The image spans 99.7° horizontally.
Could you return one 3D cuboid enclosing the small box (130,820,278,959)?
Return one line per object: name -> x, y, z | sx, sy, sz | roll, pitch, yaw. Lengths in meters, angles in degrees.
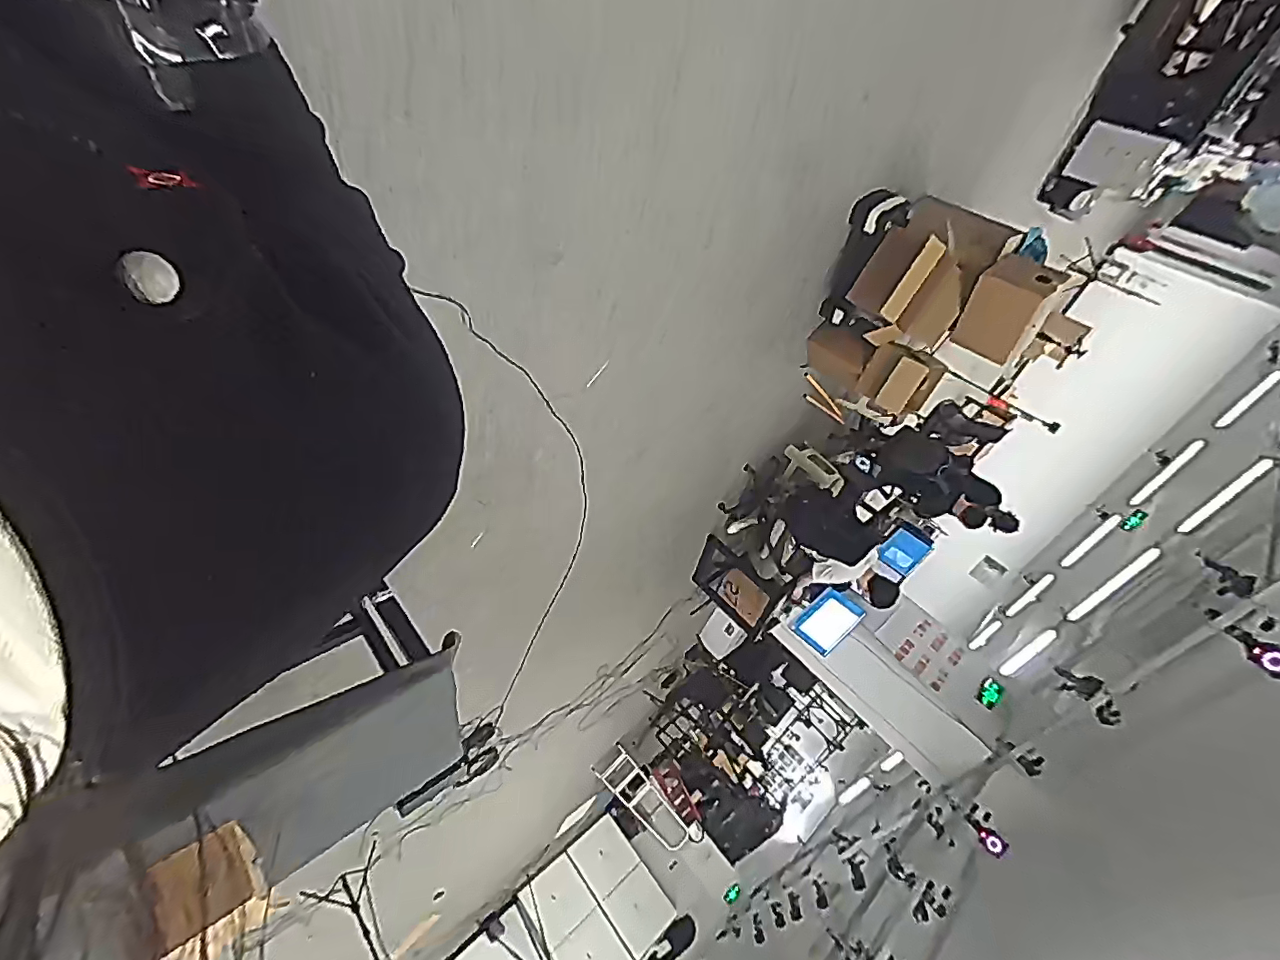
small box -> -0.887, 0.843, 1.107 | 0.179, 0.176, 0.168 | -26, 147, -35
